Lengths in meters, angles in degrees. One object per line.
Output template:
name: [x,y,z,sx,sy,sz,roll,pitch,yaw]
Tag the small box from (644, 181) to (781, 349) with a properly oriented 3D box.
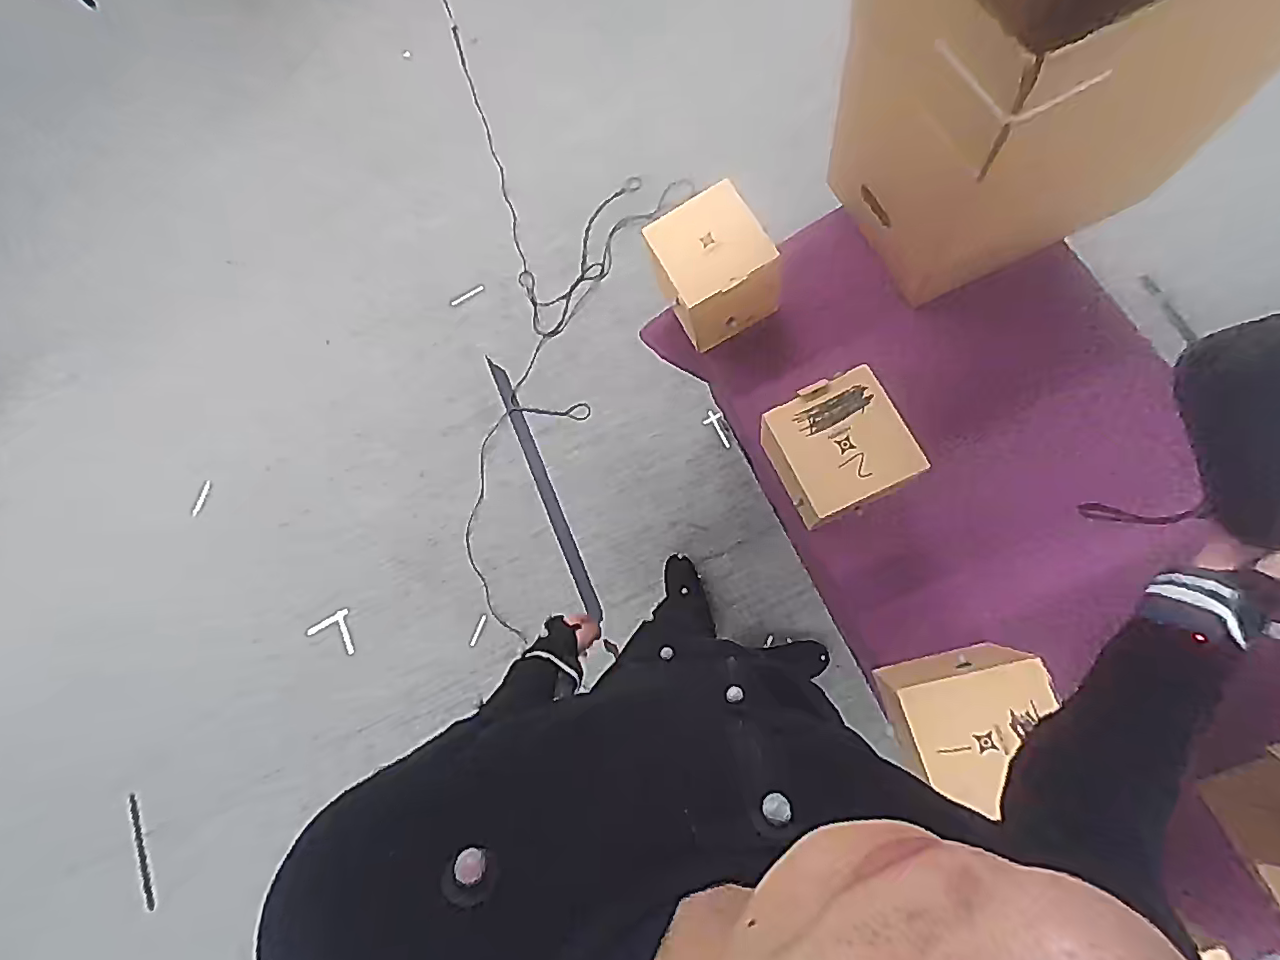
small box: [0.128,-0.364,0.944,0.168,0.176,0.179,-29,76,5]
